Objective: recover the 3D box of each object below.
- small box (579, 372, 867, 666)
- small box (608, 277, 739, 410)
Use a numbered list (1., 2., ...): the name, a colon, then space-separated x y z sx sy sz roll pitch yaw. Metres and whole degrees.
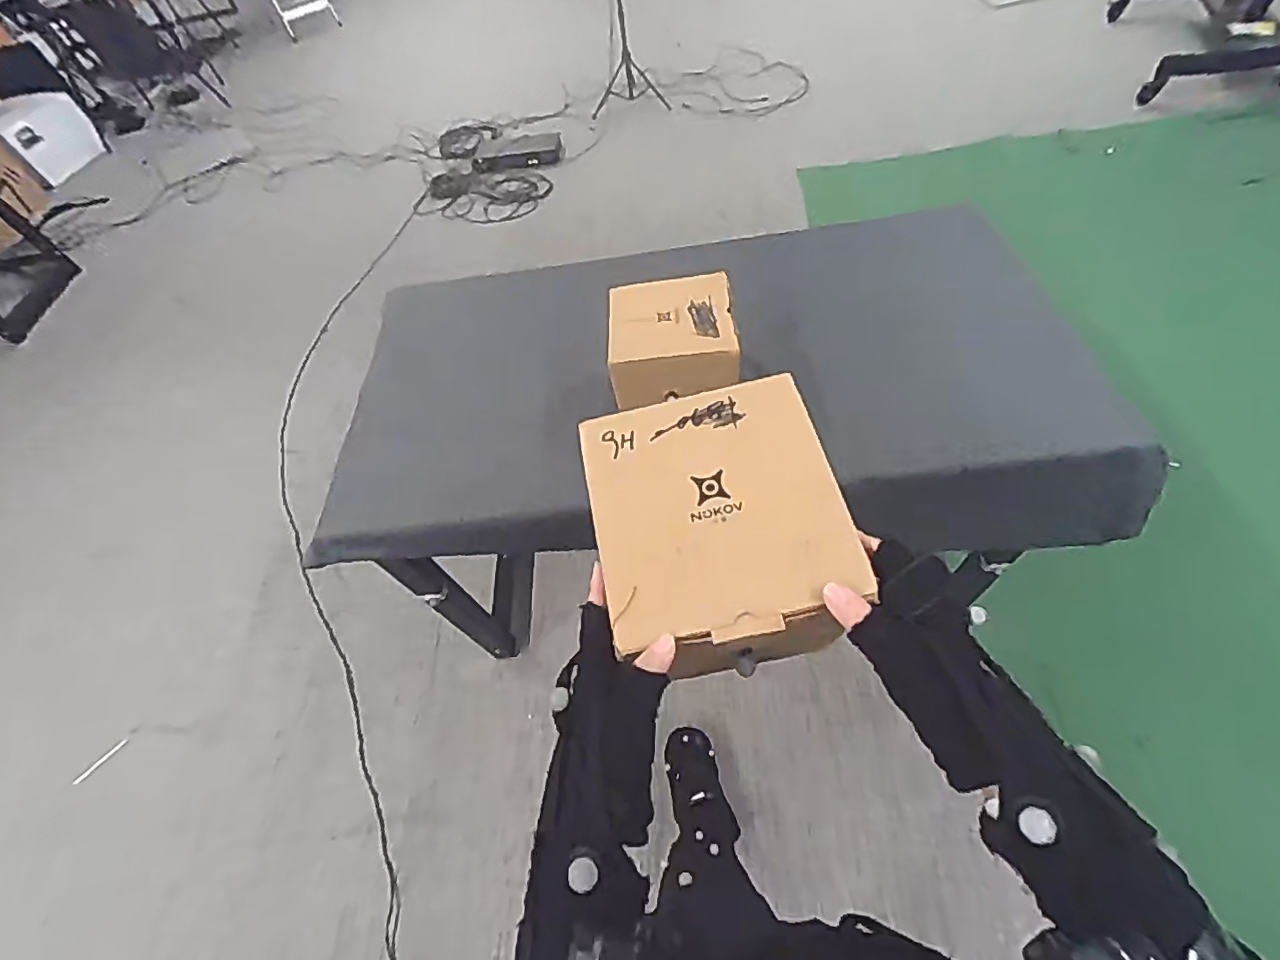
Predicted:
1. small box: 0.058 0.046 0.441 0.168 0.176 0.179 -13 63 2
2. small box: 0.053 -0.178 0.821 0.179 0.176 0.168 -5 55 6
